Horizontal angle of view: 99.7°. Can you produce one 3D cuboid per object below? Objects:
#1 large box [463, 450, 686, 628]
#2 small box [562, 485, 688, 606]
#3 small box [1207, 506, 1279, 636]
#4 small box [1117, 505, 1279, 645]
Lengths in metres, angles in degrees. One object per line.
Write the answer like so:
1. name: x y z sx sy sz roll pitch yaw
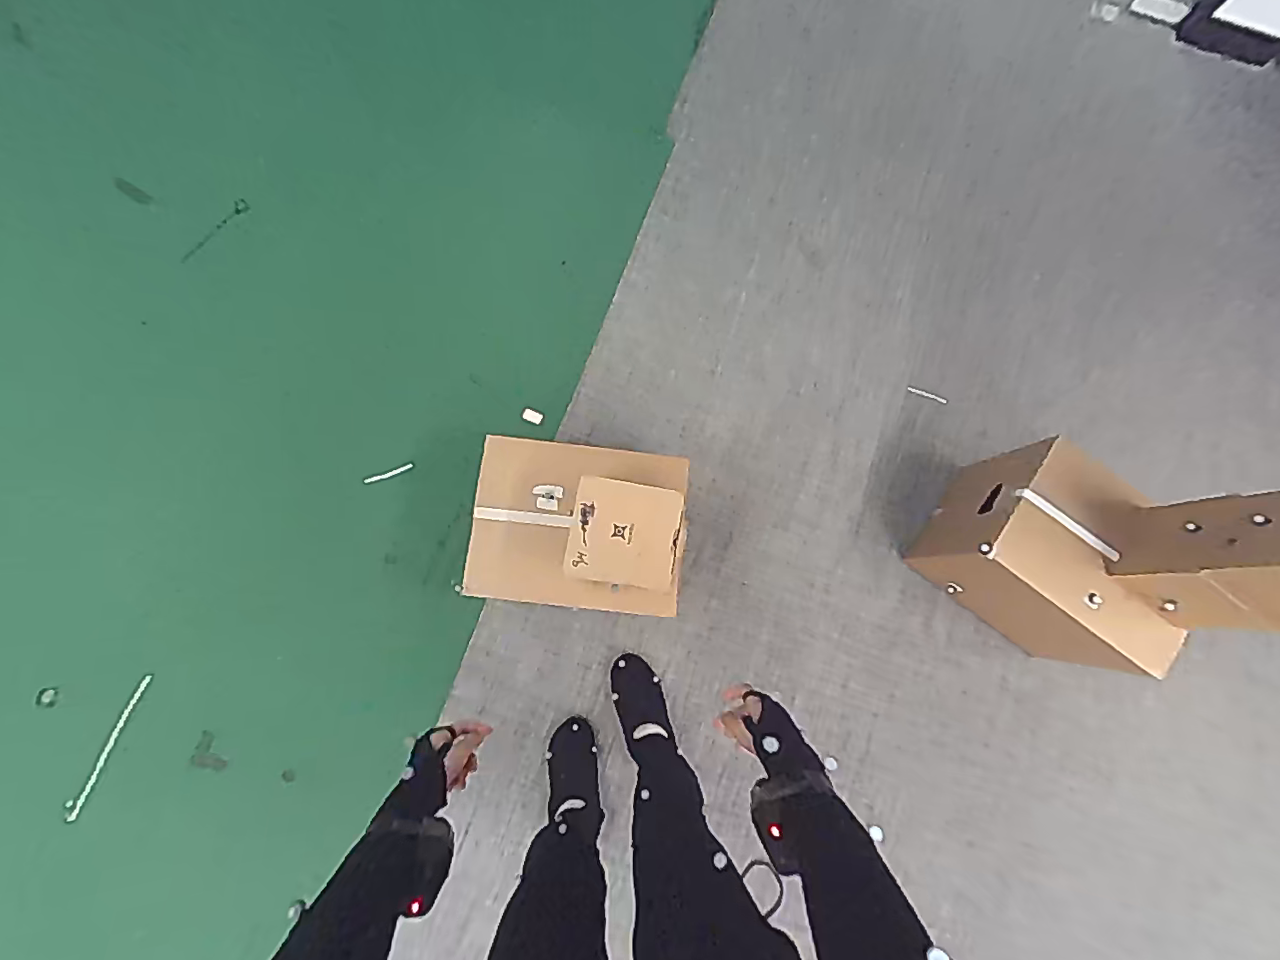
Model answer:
1. large box: -0.120 0.137 1.175 0.408 0.320 0.320 6 77 0
2. small box: -0.027 0.115 0.932 0.179 0.176 0.168 11 78 -1
3. small box: 1.047 0.142 0.818 0.179 0.176 0.168 40 78 6
4. small box: 1.030 0.172 0.976 0.168 0.176 0.179 39 78 5
